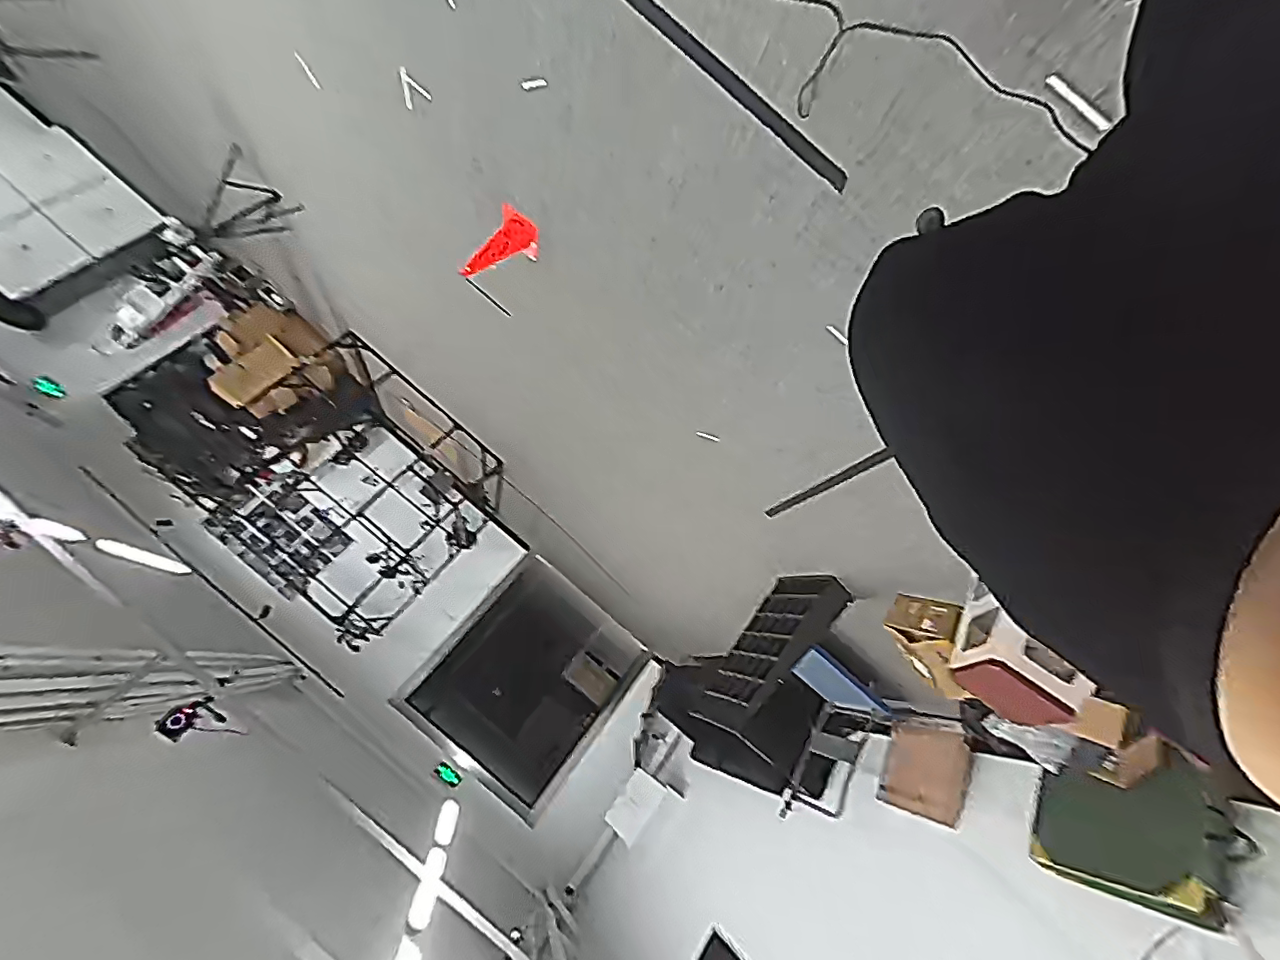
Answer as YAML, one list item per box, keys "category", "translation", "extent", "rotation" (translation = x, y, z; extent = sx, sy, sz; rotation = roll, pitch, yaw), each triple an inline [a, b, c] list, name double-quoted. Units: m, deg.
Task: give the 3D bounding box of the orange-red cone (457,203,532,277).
- category: "orange-red cone"
  translation: [-0.664, -1.006, 2.371]
  extent: [0.199, 0.360, 0.198]
  rotation: [38, 157, 3]
